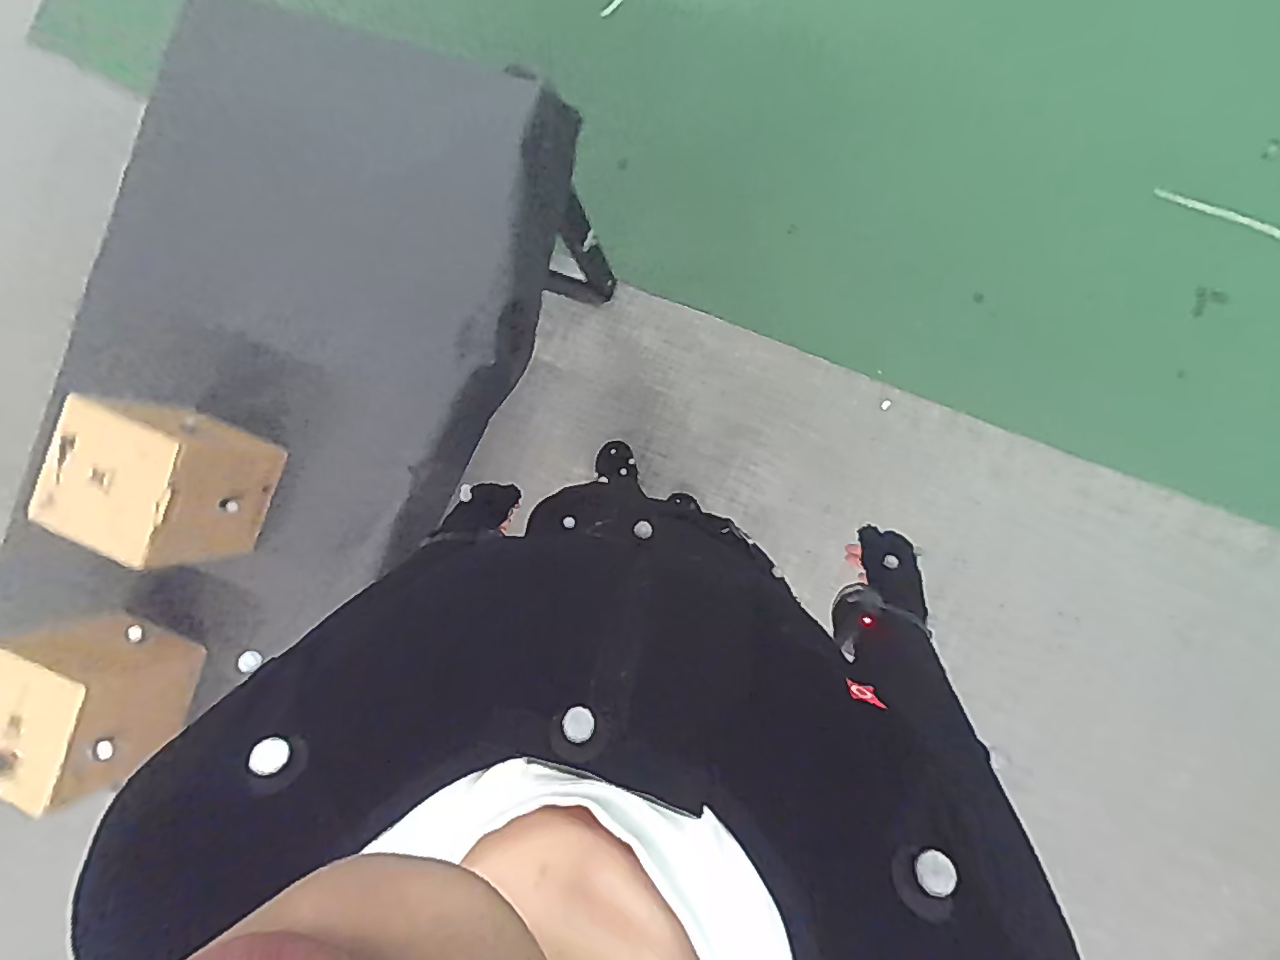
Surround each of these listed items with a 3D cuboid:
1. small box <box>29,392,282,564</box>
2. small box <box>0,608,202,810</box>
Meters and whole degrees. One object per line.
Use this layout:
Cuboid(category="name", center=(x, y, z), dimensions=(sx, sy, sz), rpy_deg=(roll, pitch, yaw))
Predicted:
Cuboid(category="small box", center=(-0.641, -0.005, 0.738), dimensions=(0.179, 0.176, 0.168), rpy_deg=(22, 93, 6))
Cuboid(category="small box", center=(-0.768, 0.302, 0.753), dimensions=(0.168, 0.176, 0.179), rpy_deg=(19, 91, 6))
